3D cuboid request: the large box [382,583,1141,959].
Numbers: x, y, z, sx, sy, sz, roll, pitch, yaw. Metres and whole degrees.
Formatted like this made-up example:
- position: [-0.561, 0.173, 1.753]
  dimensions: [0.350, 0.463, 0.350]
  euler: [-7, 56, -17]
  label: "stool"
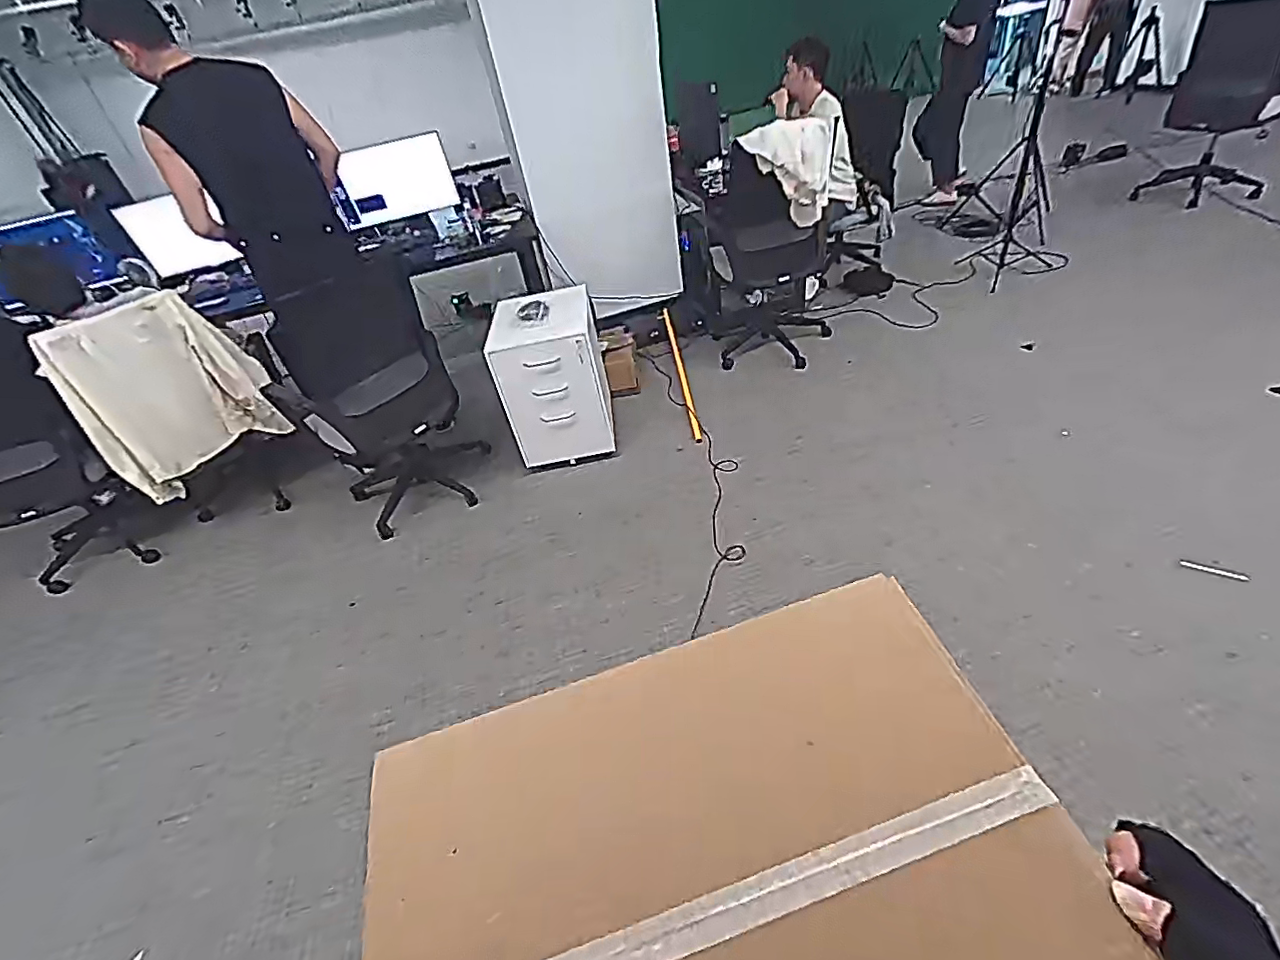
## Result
- position: [0.068, 0.345, 0.425]
  dimensions: [0.408, 0.320, 0.320]
  euler: [-19, 47, -4]
  label: "large box"
